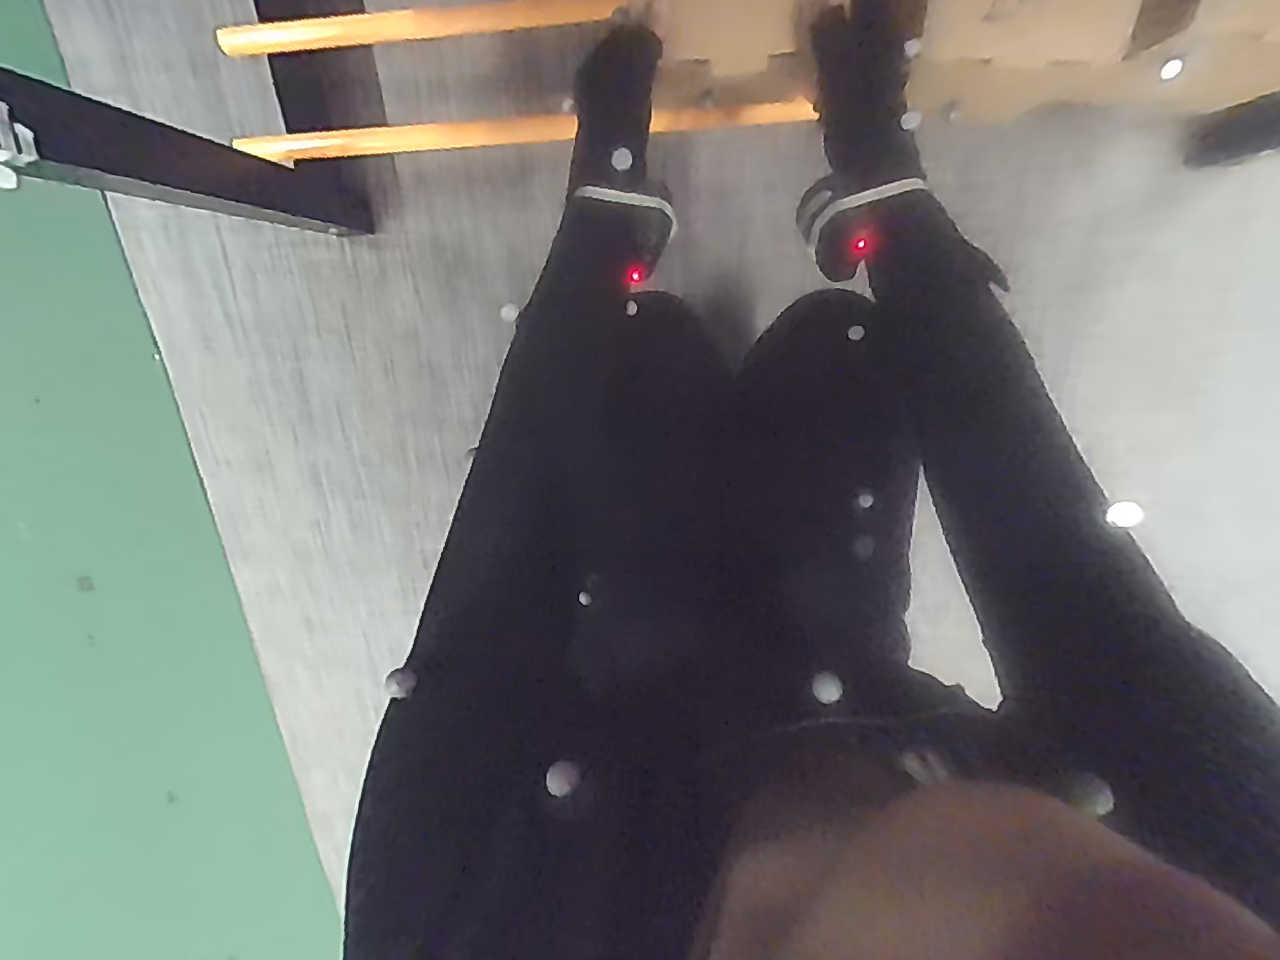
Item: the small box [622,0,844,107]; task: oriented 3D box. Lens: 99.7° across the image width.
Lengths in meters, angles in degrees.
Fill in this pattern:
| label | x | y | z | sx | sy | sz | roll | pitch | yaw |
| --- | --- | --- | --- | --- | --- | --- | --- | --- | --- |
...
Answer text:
| label | x | y | z | sx | sy | sz | roll | pitch | yaw |
| --- | --- | --- | --- | --- | --- | --- | --- | --- | --- |
| small box | 0.066 | -0.436 | 0.448 | 0.168 | 0.176 | 0.179 | -3 | 115 | 2 |
